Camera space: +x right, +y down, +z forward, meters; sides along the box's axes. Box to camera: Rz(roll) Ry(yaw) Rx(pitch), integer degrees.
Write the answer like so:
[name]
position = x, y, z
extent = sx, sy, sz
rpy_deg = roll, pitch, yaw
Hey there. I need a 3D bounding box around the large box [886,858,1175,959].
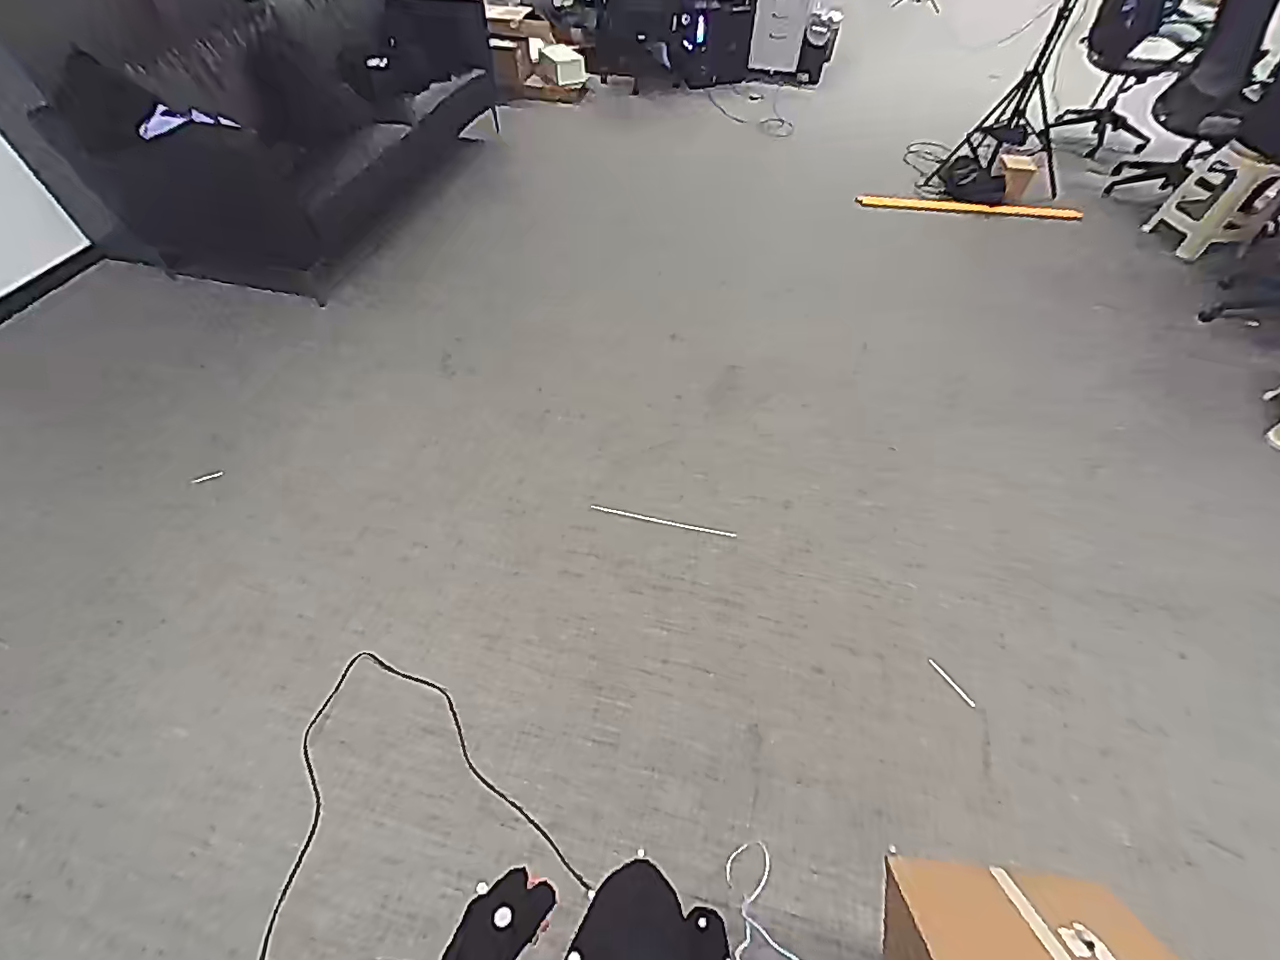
[large box]
position = 0.513, 0.750, 0.638
extent = 0.320, 0.408, 0.320
rpy_deg = 2, 90, 8
